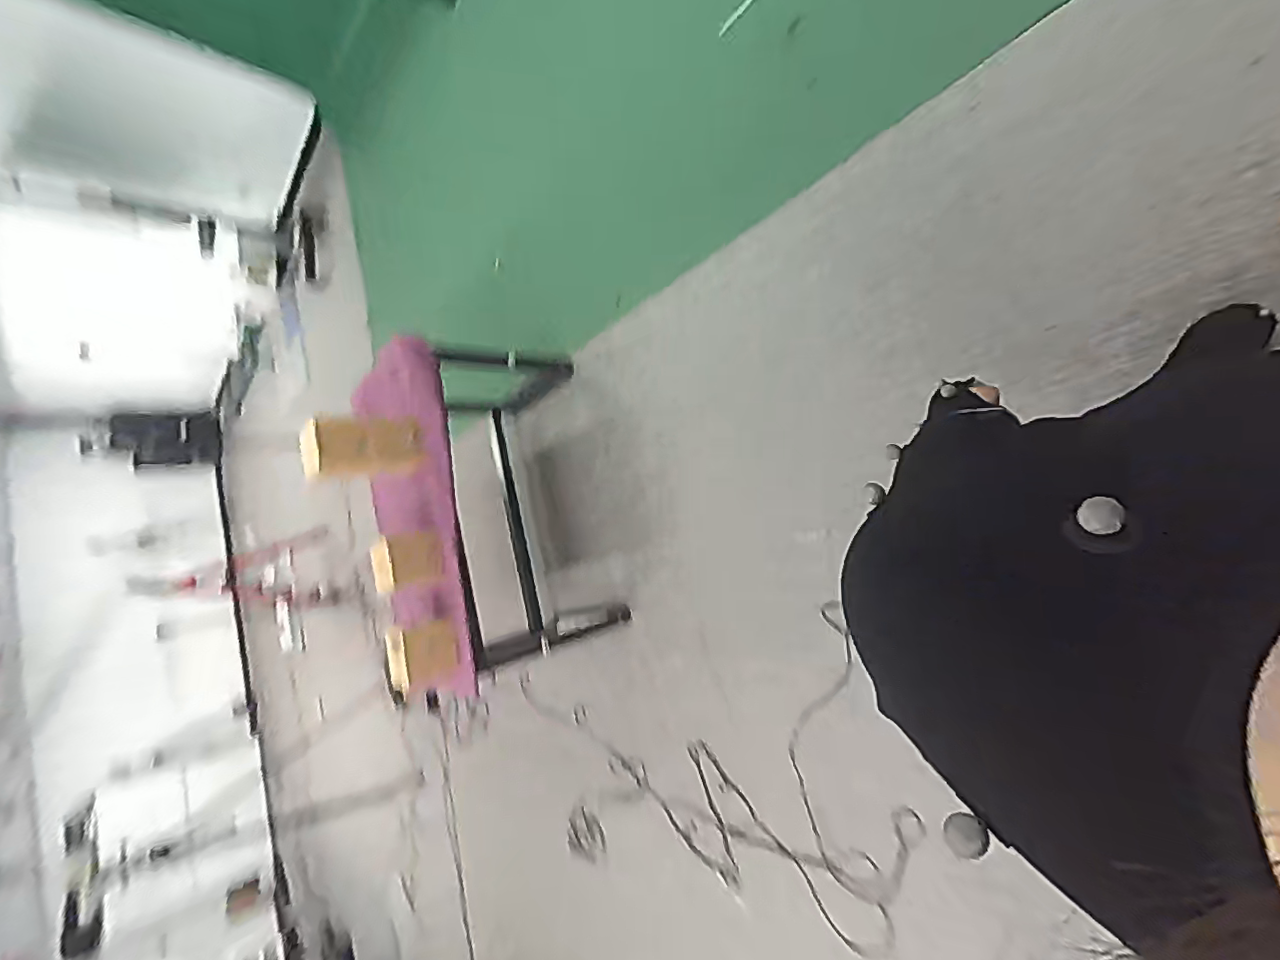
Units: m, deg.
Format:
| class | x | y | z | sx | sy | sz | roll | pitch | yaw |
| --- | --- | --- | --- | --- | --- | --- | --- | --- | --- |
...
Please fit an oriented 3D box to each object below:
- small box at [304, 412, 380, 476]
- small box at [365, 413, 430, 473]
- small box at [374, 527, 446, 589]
| class | x | y | z | sx | sy | sz | roll | pitch | yaw |
| --- | --- | --- | --- | --- | --- | --- | --- | --- | --- |
| small box | -0.963 | -0.114 | 1.748 | 0.179 | 0.176 | 0.168 | -20 | 80 | 44 |
| small box | -0.845 | -0.126 | 1.859 | 0.179 | 0.176 | 0.168 | -20 | 80 | 44 |
| small box | -0.778 | 0.263 | 1.829 | 0.179 | 0.176 | 0.168 | -22 | 79 | 45 |
